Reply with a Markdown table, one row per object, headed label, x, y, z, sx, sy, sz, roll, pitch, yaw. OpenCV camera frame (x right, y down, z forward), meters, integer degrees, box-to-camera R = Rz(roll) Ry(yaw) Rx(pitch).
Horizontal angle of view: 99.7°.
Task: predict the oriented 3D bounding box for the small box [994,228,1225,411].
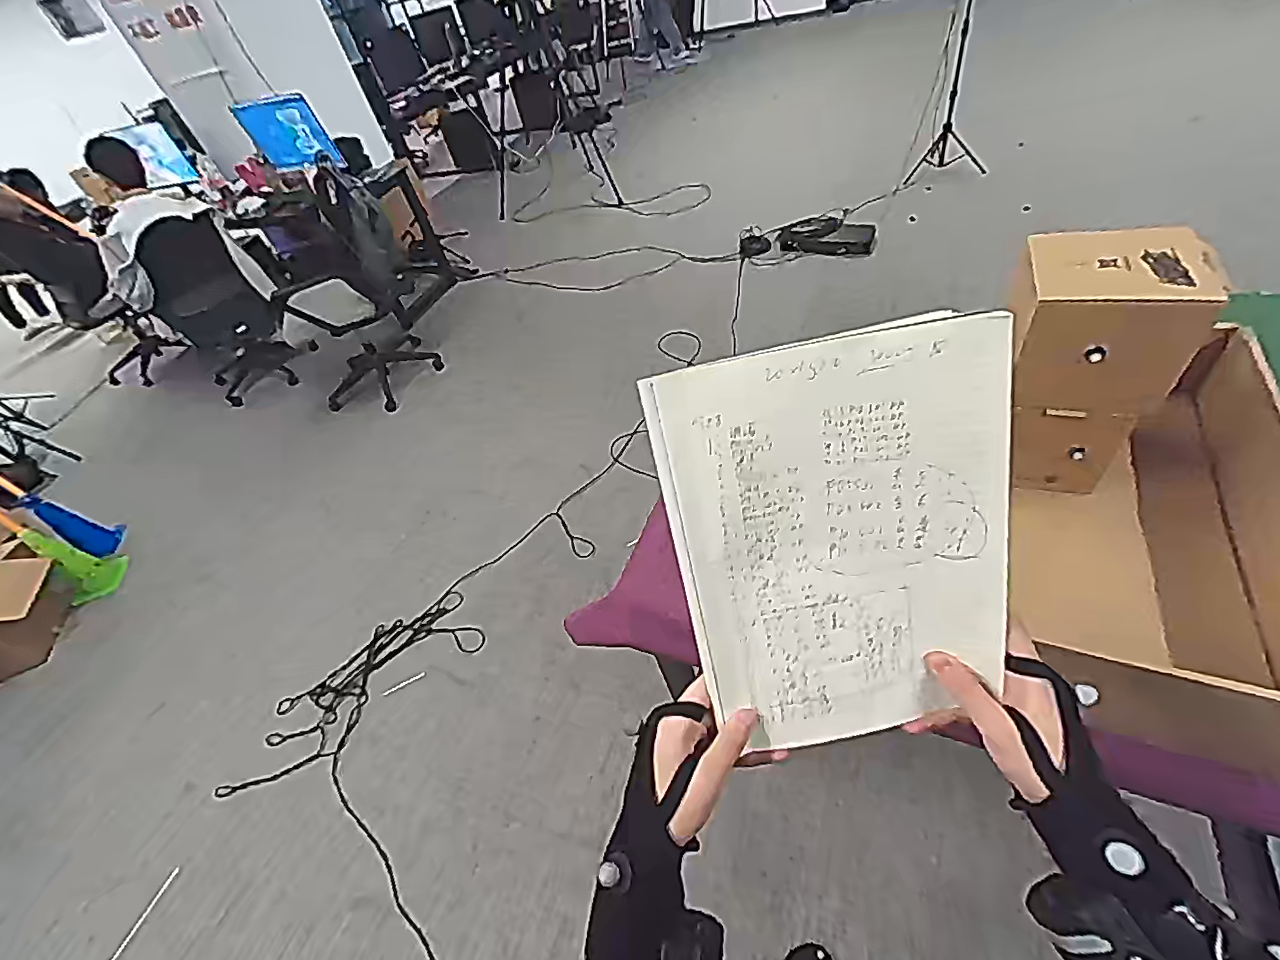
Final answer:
| label | x | y | z | sx | sy | sz | roll | pitch | yaw |
| --- | --- | --- | --- | --- | --- | --- | --- | --- | --- |
| small box | 0.595 | -0.209 | 0.716 | 0.179 | 0.176 | 0.168 | 8 | 51 | 22 |
